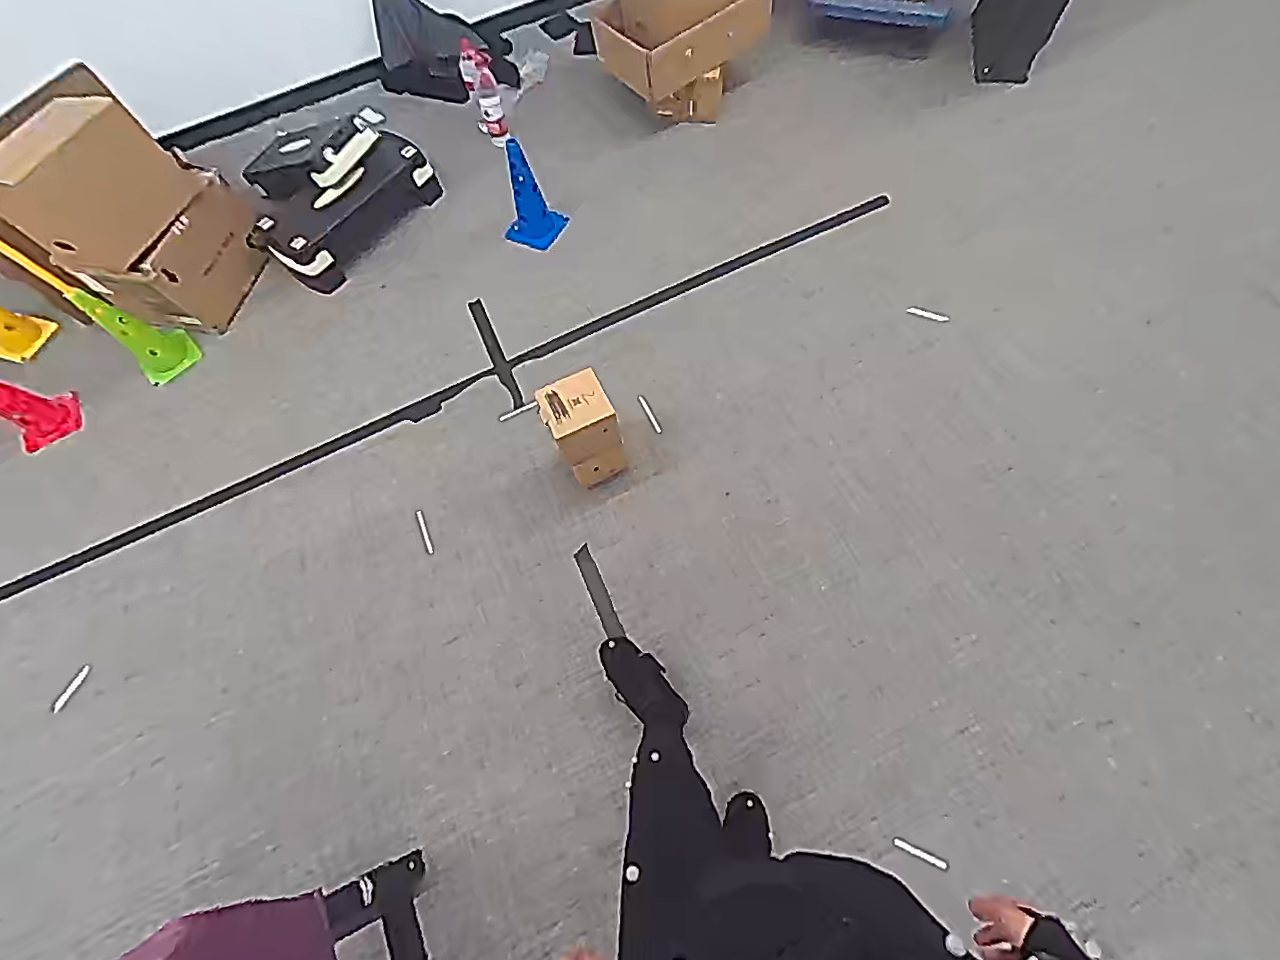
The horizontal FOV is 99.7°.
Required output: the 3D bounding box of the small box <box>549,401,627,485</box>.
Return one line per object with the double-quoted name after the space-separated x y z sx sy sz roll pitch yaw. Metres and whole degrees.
-0.152 -0.103 1.653 0.168 0.176 0.179 -29 67 -7 "small box"
